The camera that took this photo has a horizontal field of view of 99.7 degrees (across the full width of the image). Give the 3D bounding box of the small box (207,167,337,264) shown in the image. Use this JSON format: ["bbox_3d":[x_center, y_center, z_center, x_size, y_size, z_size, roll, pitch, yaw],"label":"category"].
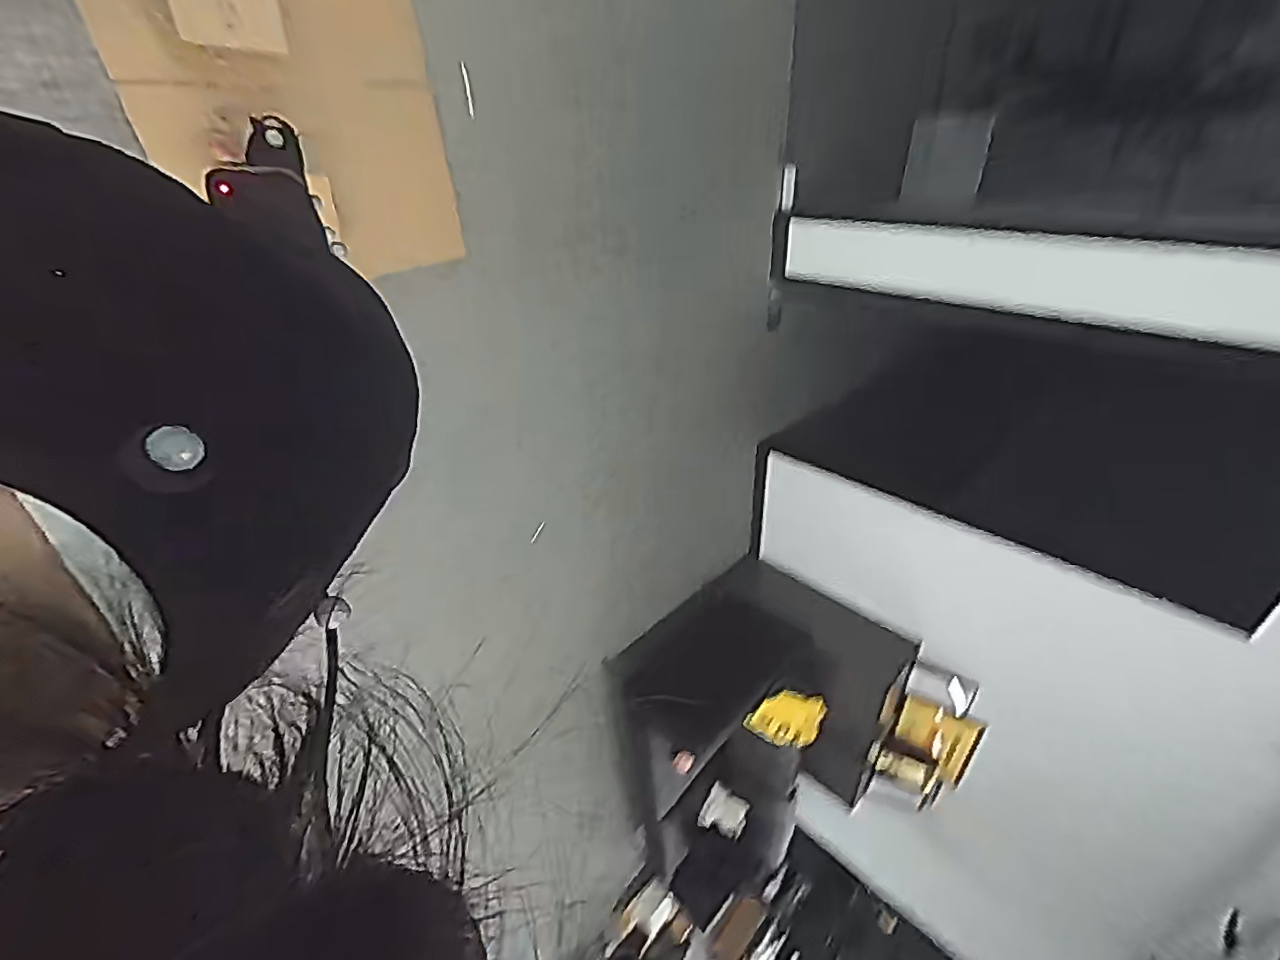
[{"bbox_3d":[-0.763,-0.545,1.117,0.179,0.176,0.168,-23,129,-41],"label":"small box"}]
